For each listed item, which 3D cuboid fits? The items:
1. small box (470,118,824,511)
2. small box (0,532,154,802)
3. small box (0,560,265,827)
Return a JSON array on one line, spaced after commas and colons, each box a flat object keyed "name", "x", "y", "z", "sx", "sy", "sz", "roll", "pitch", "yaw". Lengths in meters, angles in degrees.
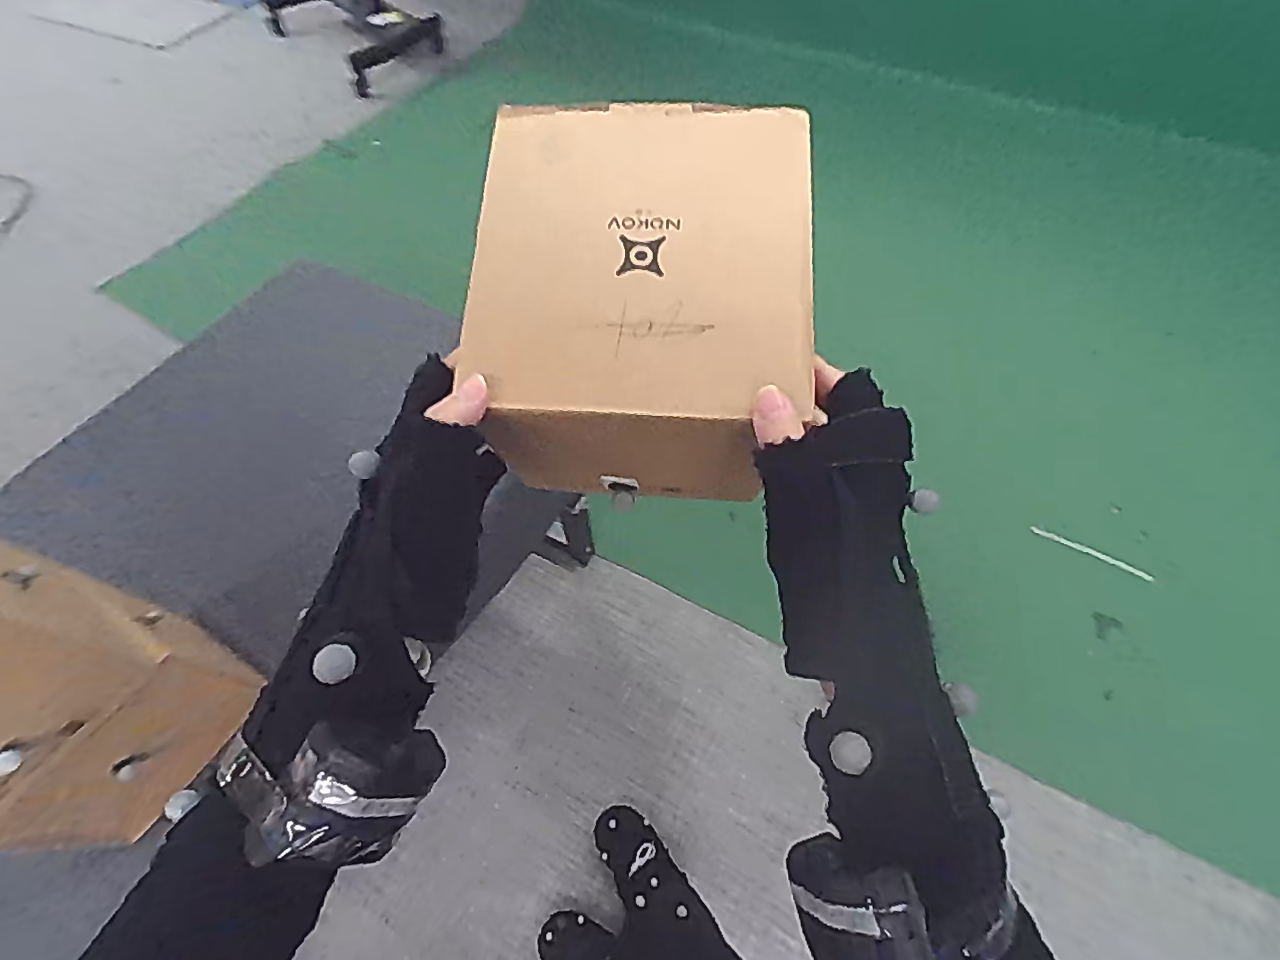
[{"name": "small box", "x": 0.011, "y": -0.088, "z": 0.347, "sx": 0.168, "sy": 0.176, "sz": 0.179, "roll": 4, "pitch": 76, "yaw": 4}, {"name": "small box", "x": -0.538, "y": 0.132, "z": 0.400, "sx": 0.179, "sy": 0.176, "sz": 0.168, "roll": 31, "pitch": 63, "yaw": 16}, {"name": "small box", "x": -0.536, "y": 0.218, "z": 0.541, "sx": 0.168, "sy": 0.176, "sz": 0.179, "roll": 27, "pitch": 63, "yaw": 15}]
